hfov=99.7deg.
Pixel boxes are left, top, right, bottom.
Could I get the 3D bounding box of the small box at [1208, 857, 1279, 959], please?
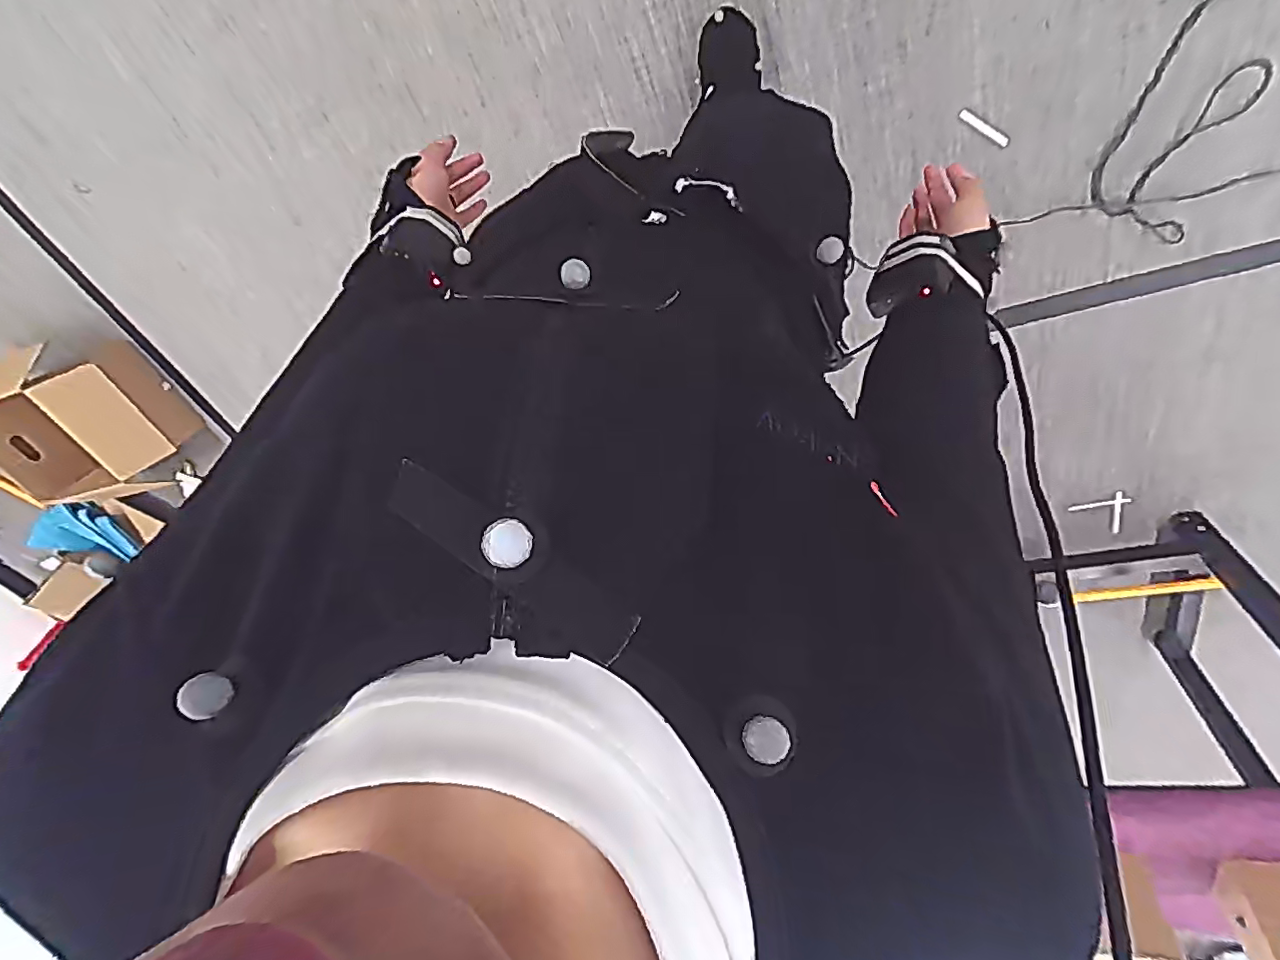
[{"bbox_3d":[1.196,0.811,0.980,0.179,0.176,0.168,-13,125,24],"label":"small box"}]
